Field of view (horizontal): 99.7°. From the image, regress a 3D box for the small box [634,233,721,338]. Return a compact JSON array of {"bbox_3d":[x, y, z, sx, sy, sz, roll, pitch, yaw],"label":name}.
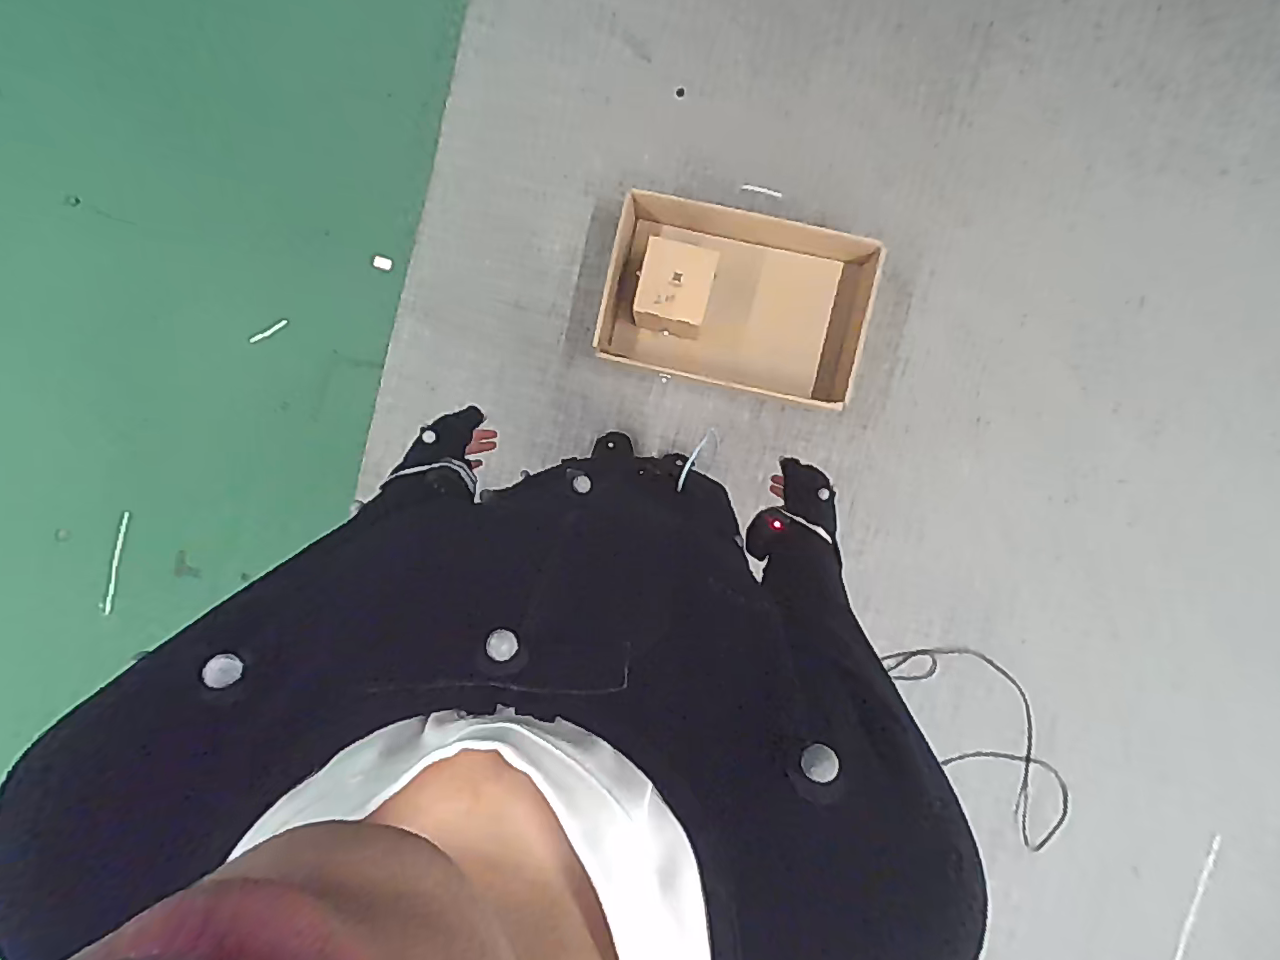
[{"bbox_3d":[0.086,-0.462,1.307,0.168,0.176,0.179,15,94,2],"label":"small box"}]
